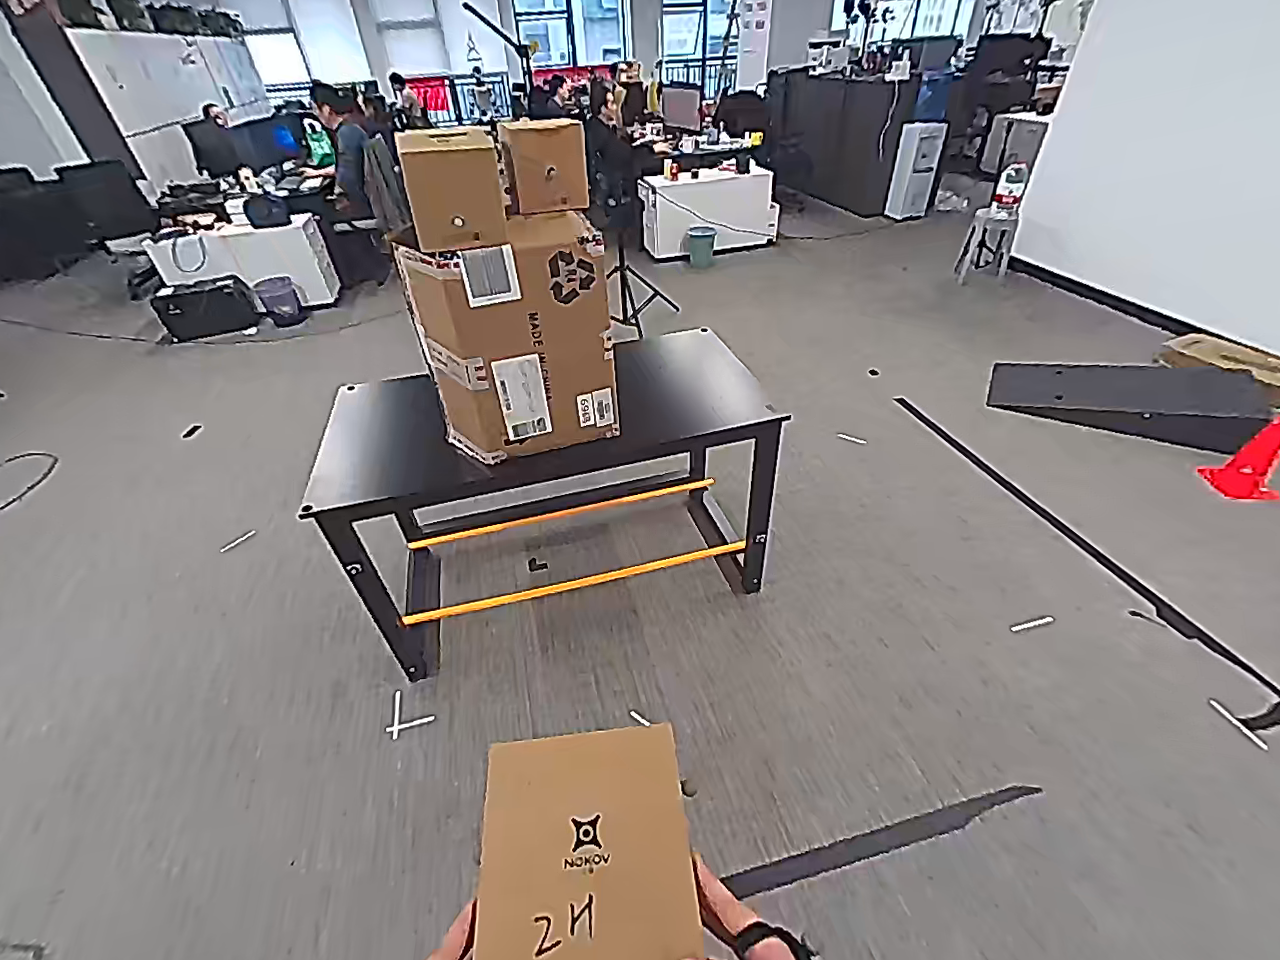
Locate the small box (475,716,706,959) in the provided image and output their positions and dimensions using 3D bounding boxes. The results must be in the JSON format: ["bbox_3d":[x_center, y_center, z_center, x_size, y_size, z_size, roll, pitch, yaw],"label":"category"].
[{"bbox_3d":[-0.041,0.341,0.489,0.168,0.176,0.179,-6,45,-3],"label":"small box"}]

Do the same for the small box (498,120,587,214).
[{"bbox_3d":[-0.225,-0.728,1.261,0.168,0.176,0.179,-13,40,-15],"label":"small box"}]

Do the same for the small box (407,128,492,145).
[{"bbox_3d":[-0.416,-0.686,1.221,0.168,0.176,0.179,-16,39,-14],"label":"small box"}]

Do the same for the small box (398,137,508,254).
[{"bbox_3d":[-0.359,-0.551,1.045,0.168,0.176,0.179,-13,42,-15],"label":"small box"}]
